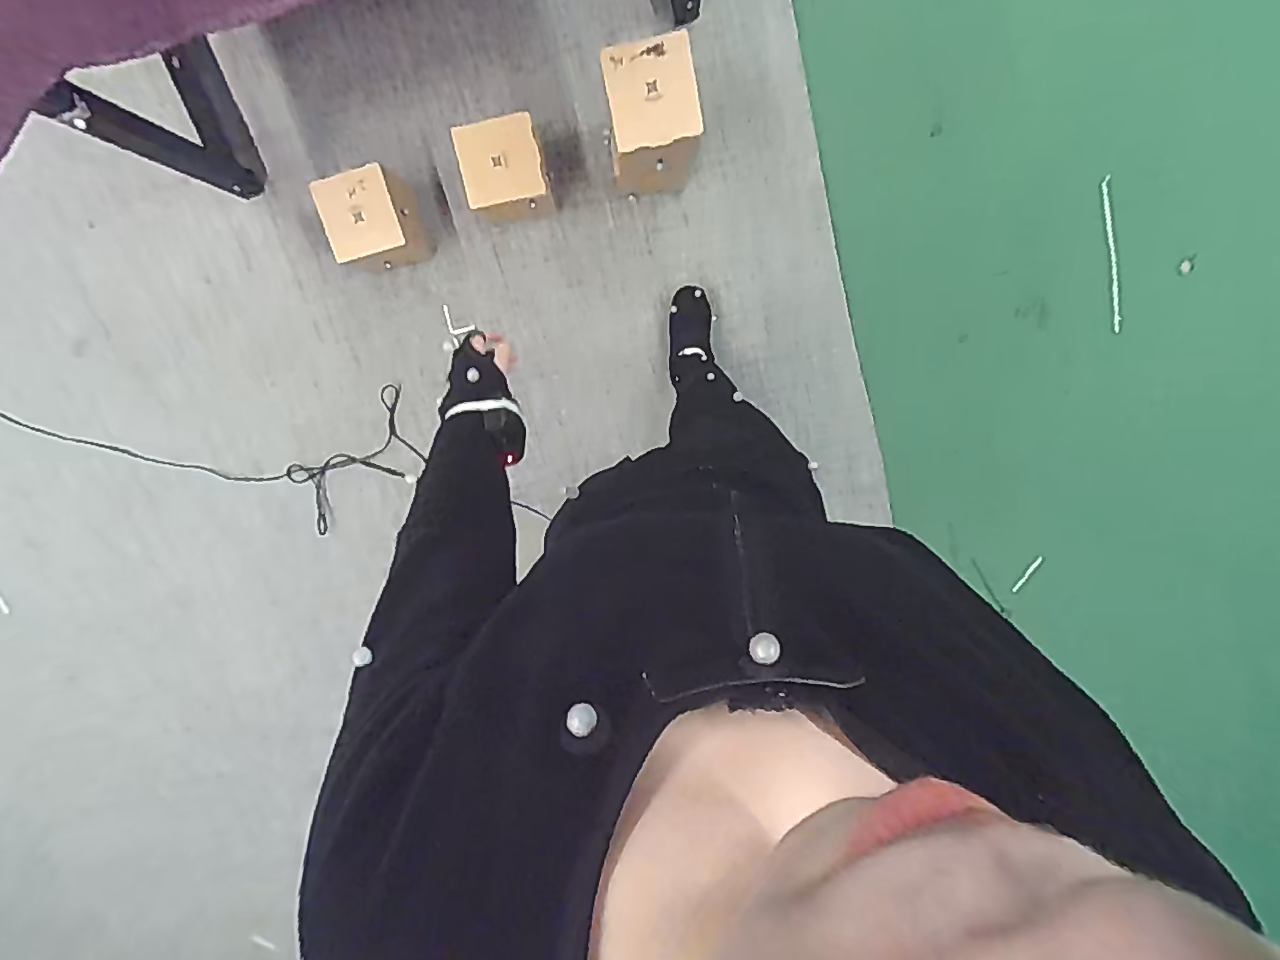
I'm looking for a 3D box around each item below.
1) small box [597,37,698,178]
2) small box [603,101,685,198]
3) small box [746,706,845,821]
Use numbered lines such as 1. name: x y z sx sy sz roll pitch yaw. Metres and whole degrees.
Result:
1. small box: 0.017 -0.722 1.074 0.168 0.176 0.179 -10 103 2
2. small box: 0.012 -0.762 1.234 0.168 0.176 0.179 -6 101 2
3. small box: 0.383 0.702 1.364 0.168 0.176 0.179 -25 101 6
